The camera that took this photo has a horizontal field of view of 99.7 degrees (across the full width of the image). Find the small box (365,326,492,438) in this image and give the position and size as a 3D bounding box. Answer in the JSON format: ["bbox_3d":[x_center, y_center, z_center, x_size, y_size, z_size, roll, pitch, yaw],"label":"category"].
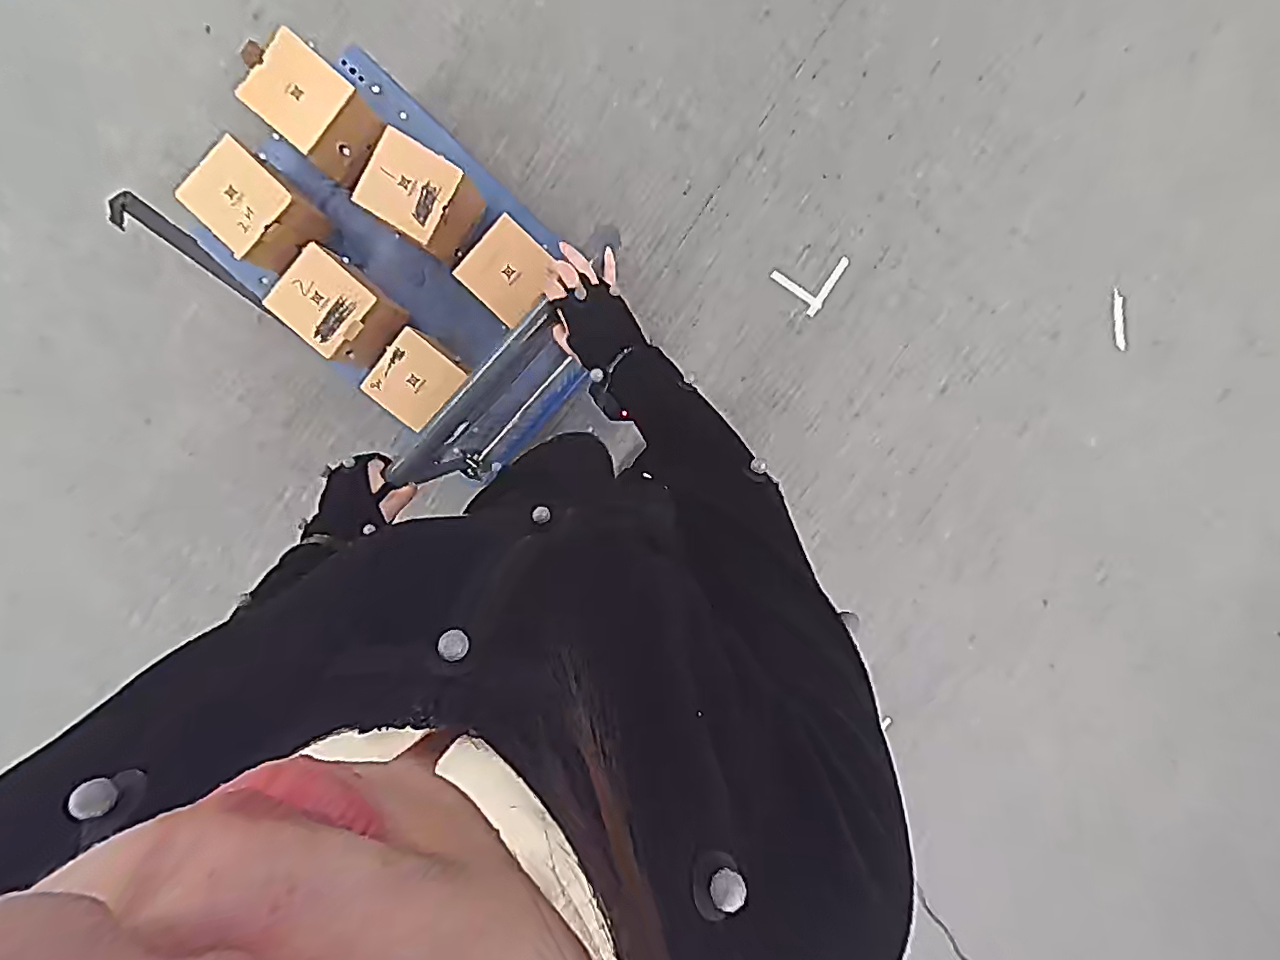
[{"bbox_3d":[-0.456,-0.214,1.198,0.179,0.176,0.168,39,94,-6],"label":"small box"}]

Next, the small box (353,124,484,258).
[{"bbox_3d":[-0.459,-0.598,1.152,0.179,0.176,0.168,30,95,-4],"label":"small box"}]

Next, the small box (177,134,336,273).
[{"bbox_3d":[-0.800,-0.572,1.148,0.179,0.176,0.168,44,94,-6],"label":"small box"}]

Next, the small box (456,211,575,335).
[{"bbox_3d":[-0.259,-0.436,1.177,0.179,0.176,0.168,43,94,-5],"label":"small box"}]

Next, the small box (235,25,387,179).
[{"bbox_3d":[-0.671,-0.768,1.128,0.179,0.176,0.168,39,95,-5],"label":"small box"}]
